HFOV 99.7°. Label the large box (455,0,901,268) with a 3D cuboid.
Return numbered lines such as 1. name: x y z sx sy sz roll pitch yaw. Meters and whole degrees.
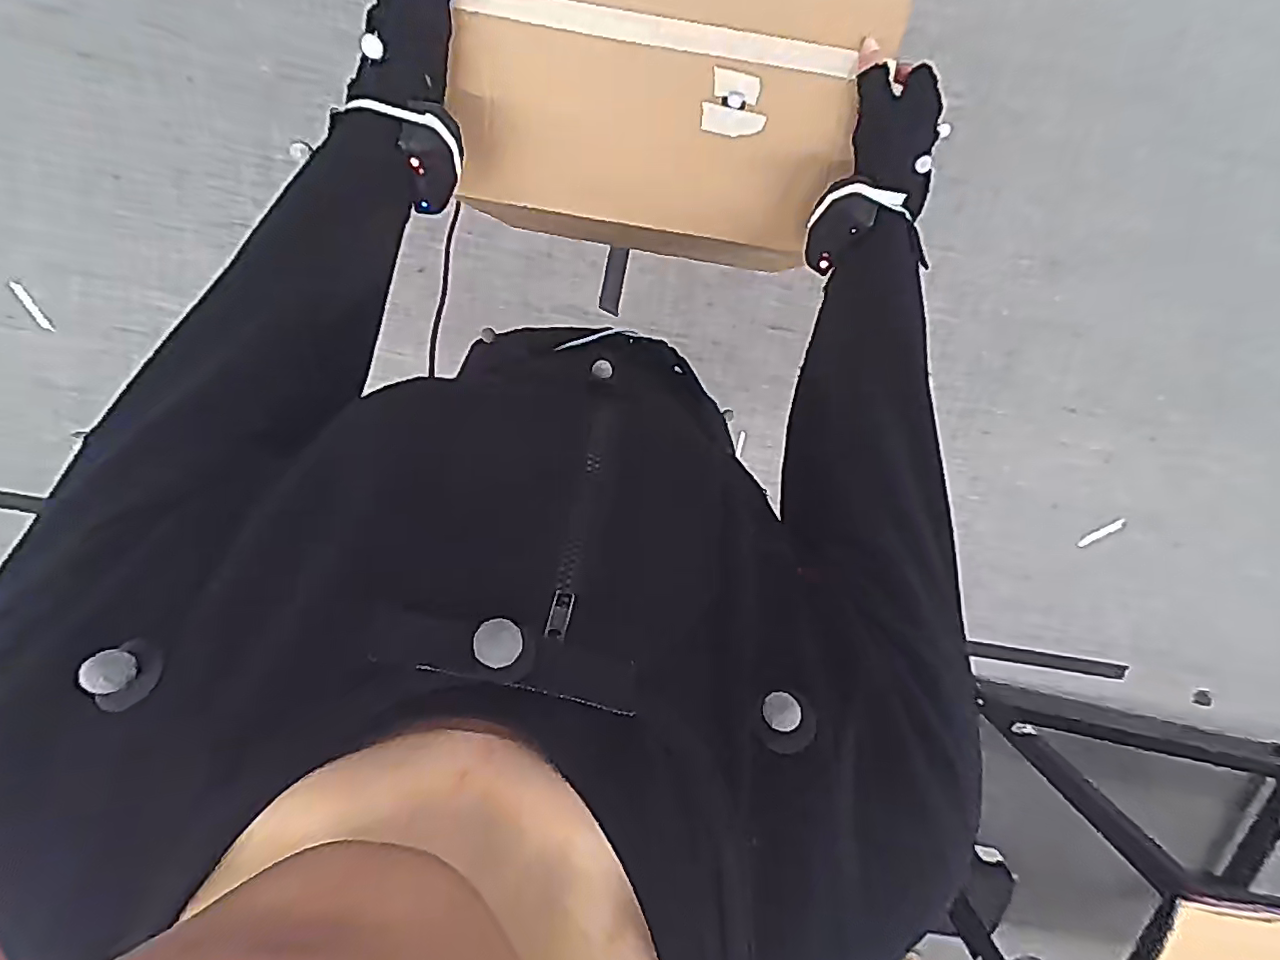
1. large box: 0.028 -0.446 0.639 0.408 0.320 0.320 8 110 -3
